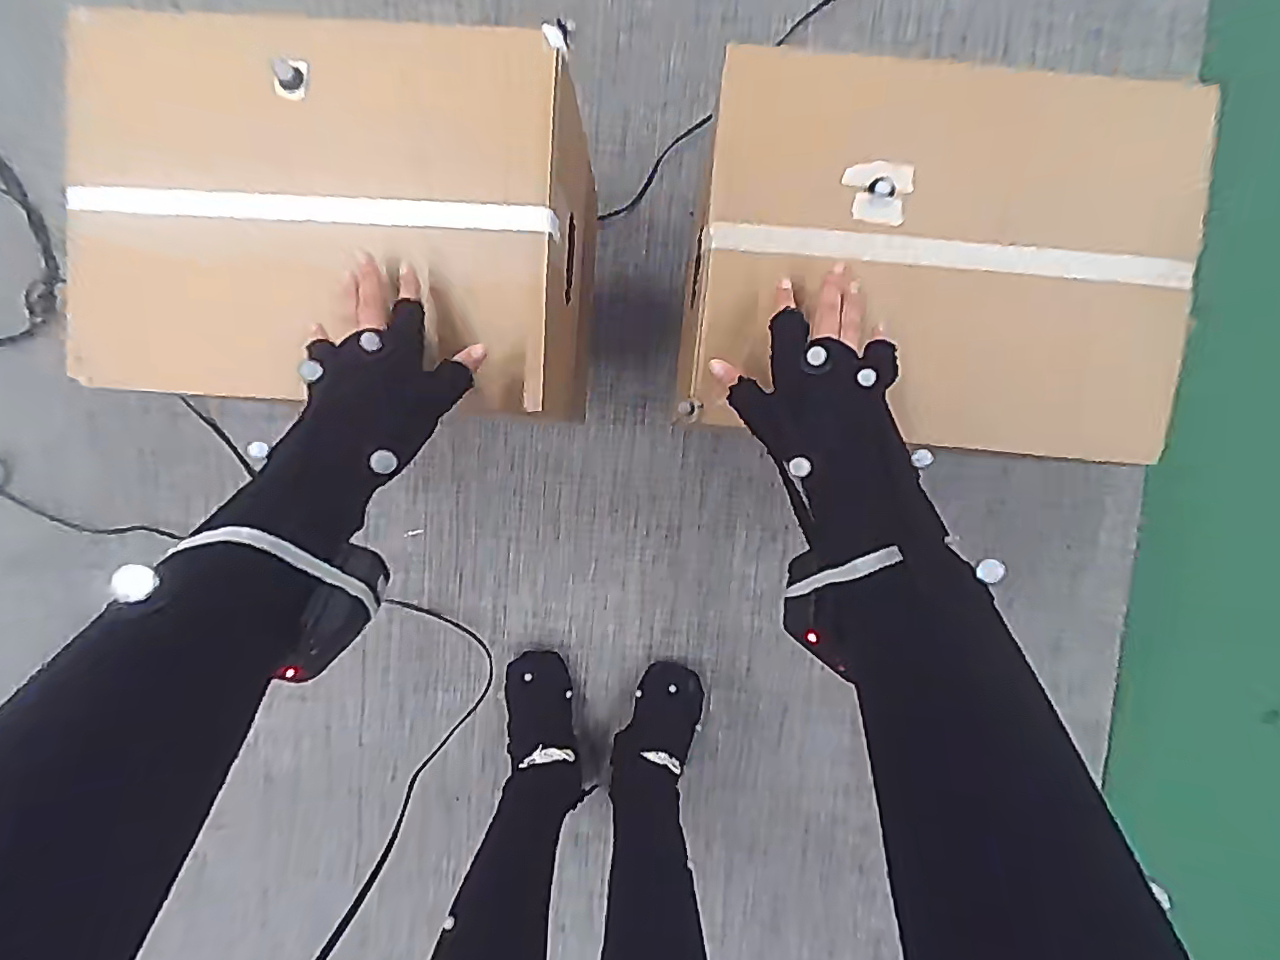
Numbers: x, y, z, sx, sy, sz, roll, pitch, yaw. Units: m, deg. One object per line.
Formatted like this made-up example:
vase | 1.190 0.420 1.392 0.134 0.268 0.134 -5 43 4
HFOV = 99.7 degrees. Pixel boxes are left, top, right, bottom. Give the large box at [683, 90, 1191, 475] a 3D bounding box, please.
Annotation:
large box | 0.271 -0.186 0.630 0.408 0.320 0.320 6 94 1
